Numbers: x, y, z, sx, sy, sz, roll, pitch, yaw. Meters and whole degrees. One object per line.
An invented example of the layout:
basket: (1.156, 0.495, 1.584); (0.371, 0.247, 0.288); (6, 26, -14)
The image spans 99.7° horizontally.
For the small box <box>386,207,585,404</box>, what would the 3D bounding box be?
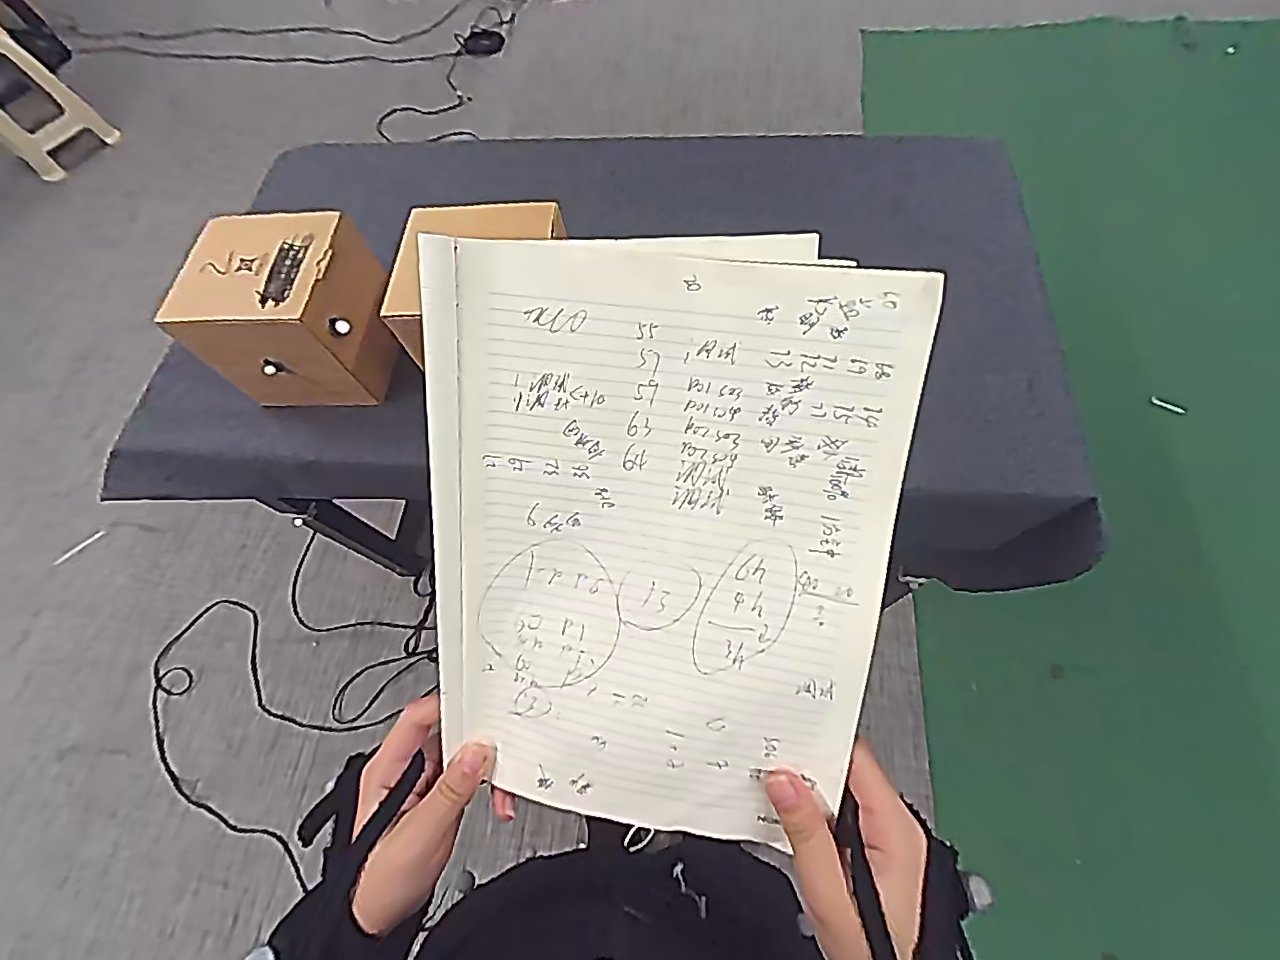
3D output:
small box: (-0.174, -0.205, 0.668); (0.179, 0.176, 0.168); (0, 64, 5)
